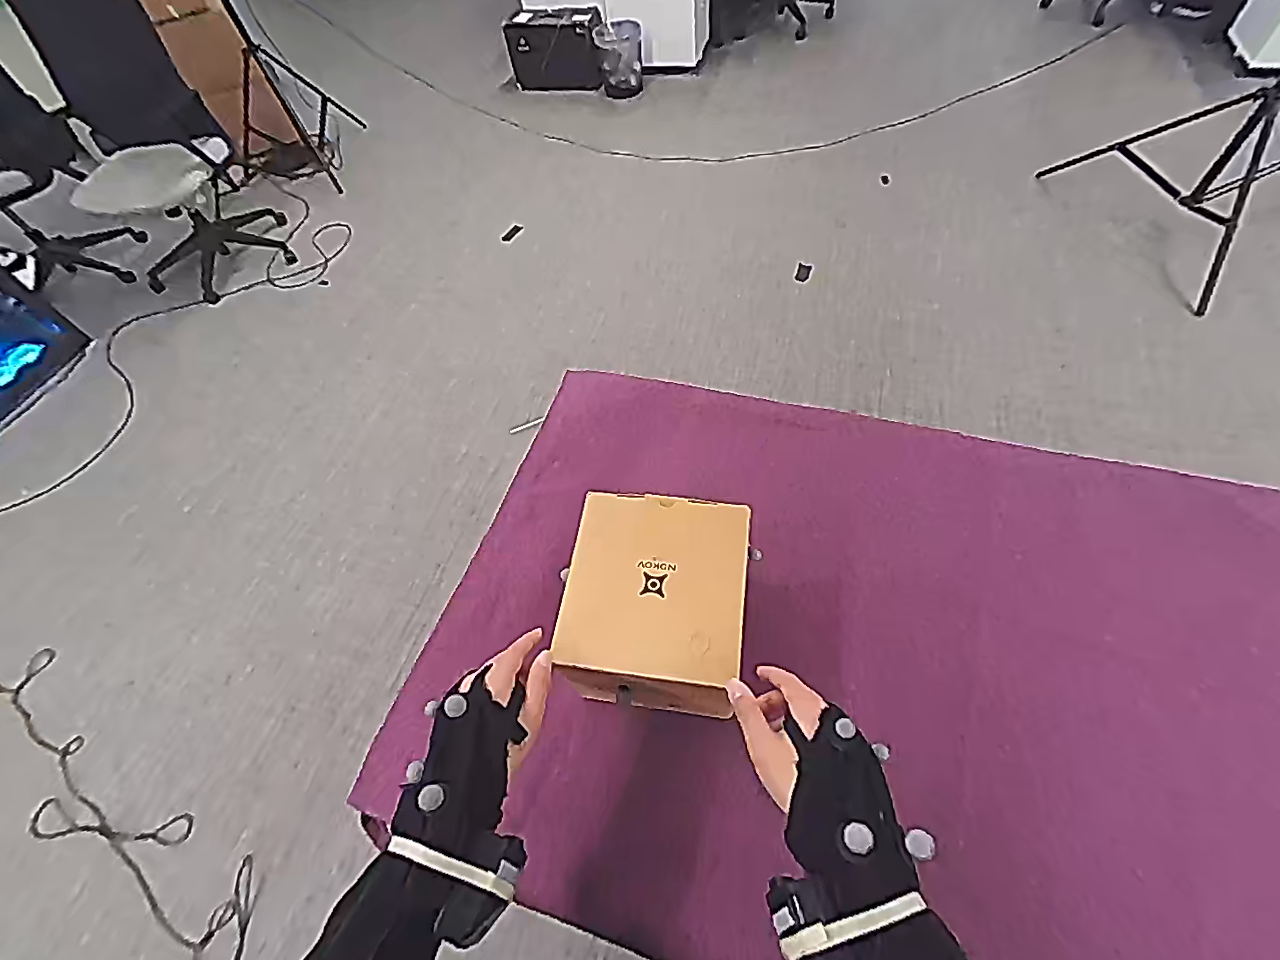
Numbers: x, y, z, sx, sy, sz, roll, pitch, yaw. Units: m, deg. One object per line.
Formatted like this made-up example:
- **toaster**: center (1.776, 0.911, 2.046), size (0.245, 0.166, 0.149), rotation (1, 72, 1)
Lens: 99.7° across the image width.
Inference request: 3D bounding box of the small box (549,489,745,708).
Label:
- **small box**: center (0.021, 0.129, 0.568), size (0.168, 0.176, 0.179), rotation (4, 58, 9)
